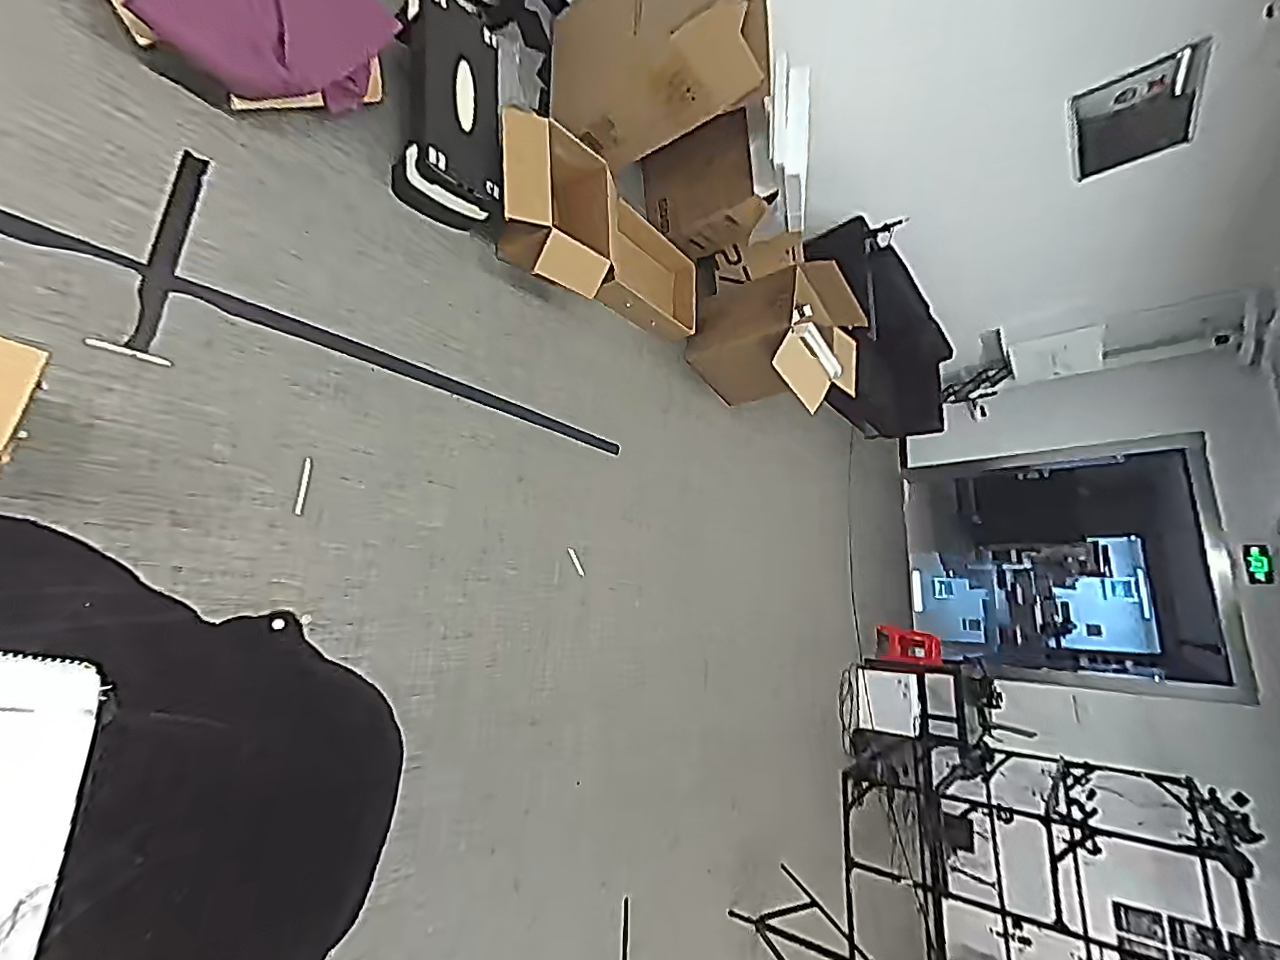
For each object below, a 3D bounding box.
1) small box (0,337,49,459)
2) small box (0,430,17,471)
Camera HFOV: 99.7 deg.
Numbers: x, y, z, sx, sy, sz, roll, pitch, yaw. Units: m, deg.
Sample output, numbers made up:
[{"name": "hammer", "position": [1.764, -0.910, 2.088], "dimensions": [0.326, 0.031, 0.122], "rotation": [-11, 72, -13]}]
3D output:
[{"name": "small box", "position": [-1.061, -0.134, 0.824], "dimensions": [0.168, 0.176, 0.179], "rotation": [25, 65, -46]}, {"name": "small box", "position": [-1.191, -0.113, 0.925], "dimensions": [0.168, 0.176, 0.179], "rotation": [18, 71, -49]}]
